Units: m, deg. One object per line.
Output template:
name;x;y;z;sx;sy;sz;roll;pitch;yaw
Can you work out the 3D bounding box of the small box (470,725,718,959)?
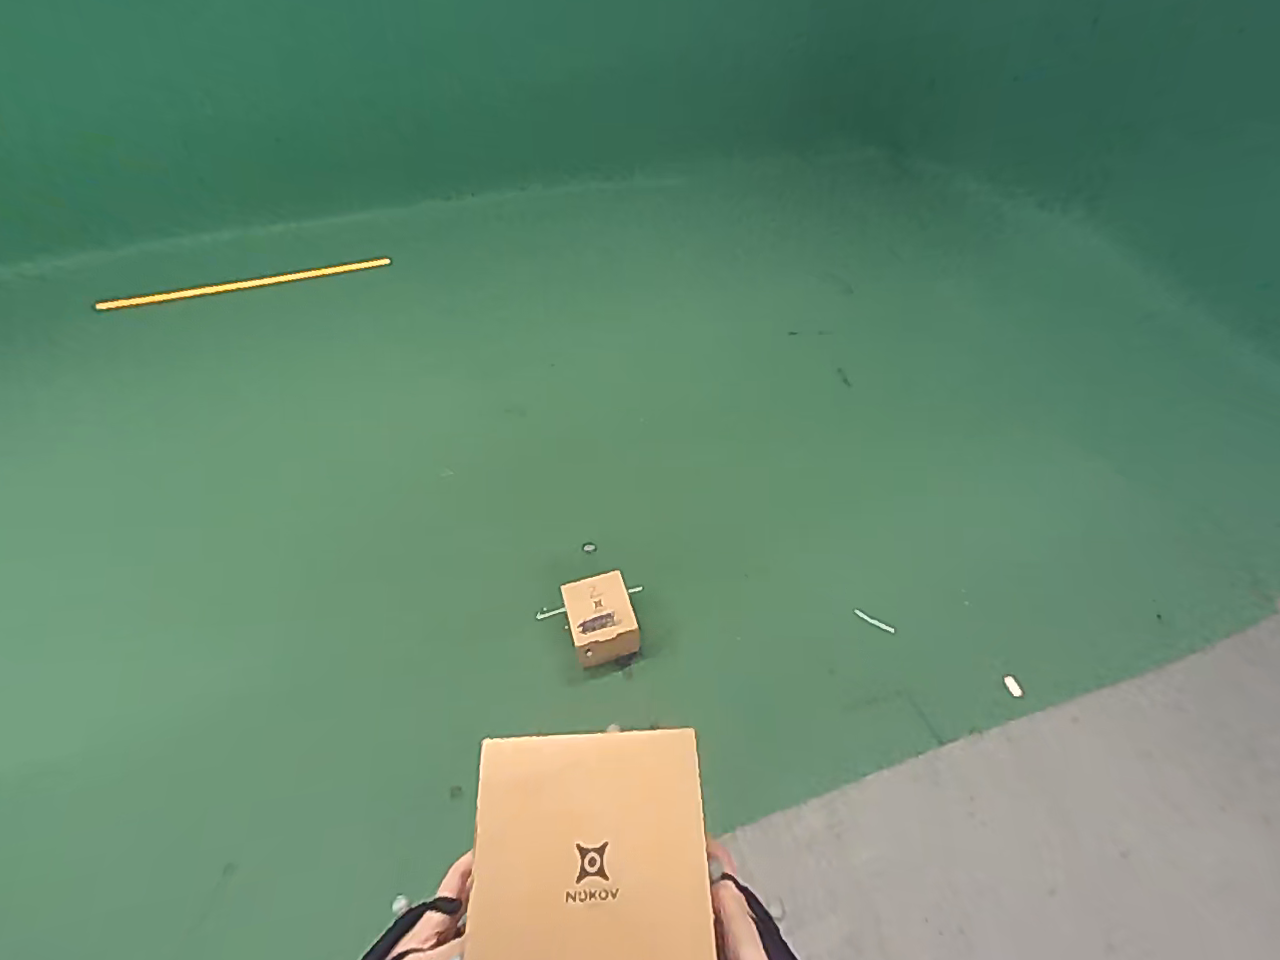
small box;-0.039;0.315;0.448;0.168;0.176;0.179;-3;58;-6
